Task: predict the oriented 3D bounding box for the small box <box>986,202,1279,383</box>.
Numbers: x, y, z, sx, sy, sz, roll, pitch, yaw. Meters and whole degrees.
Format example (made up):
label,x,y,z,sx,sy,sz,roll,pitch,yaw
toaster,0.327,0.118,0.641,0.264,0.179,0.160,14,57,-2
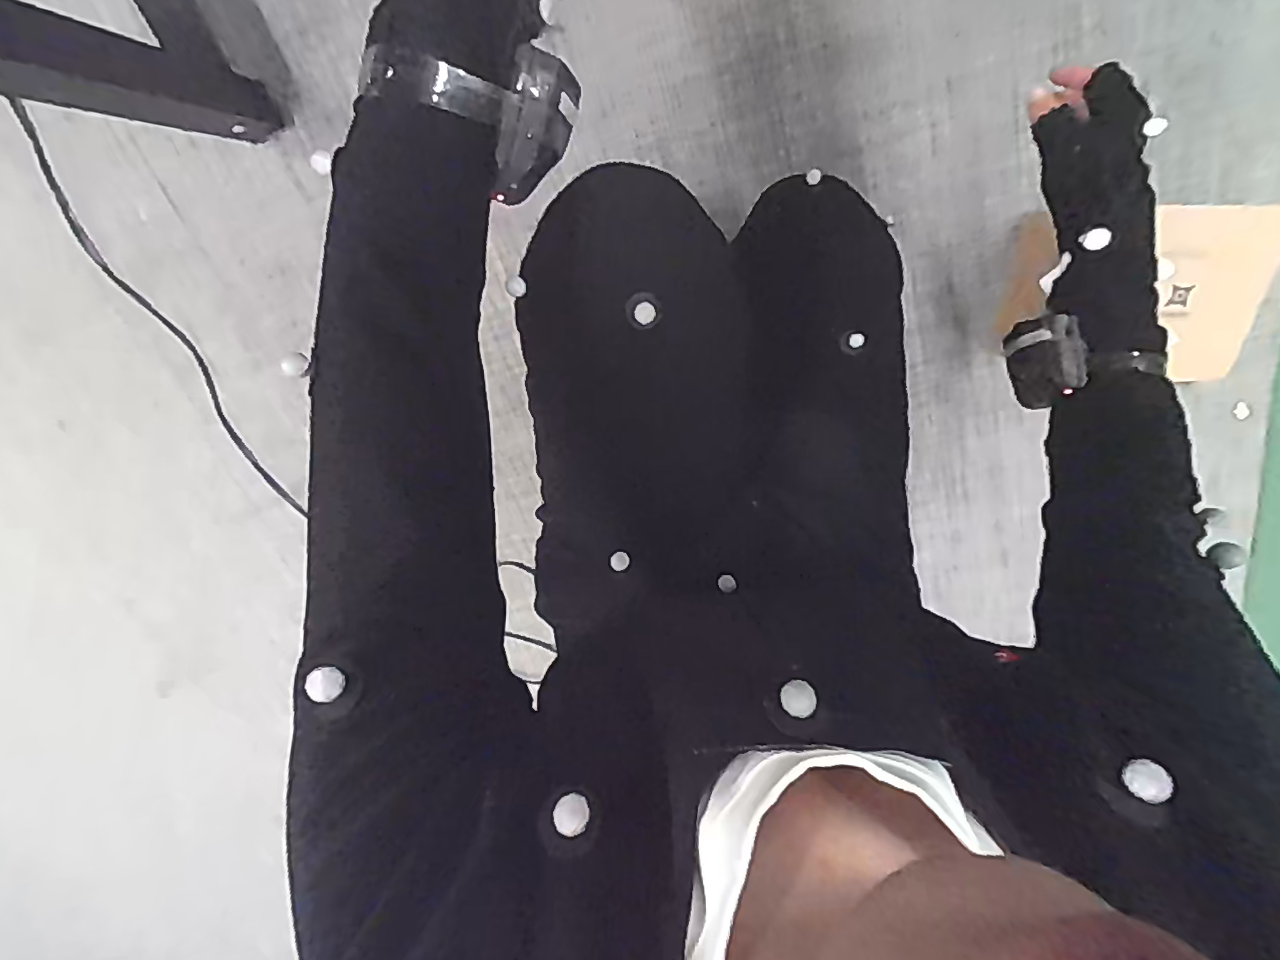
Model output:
label,x,y,z,sx,sy,sz,roll,pitch,yaw
small box,0.541,-0.221,0.627,0.168,0.176,0.179,1,115,2
